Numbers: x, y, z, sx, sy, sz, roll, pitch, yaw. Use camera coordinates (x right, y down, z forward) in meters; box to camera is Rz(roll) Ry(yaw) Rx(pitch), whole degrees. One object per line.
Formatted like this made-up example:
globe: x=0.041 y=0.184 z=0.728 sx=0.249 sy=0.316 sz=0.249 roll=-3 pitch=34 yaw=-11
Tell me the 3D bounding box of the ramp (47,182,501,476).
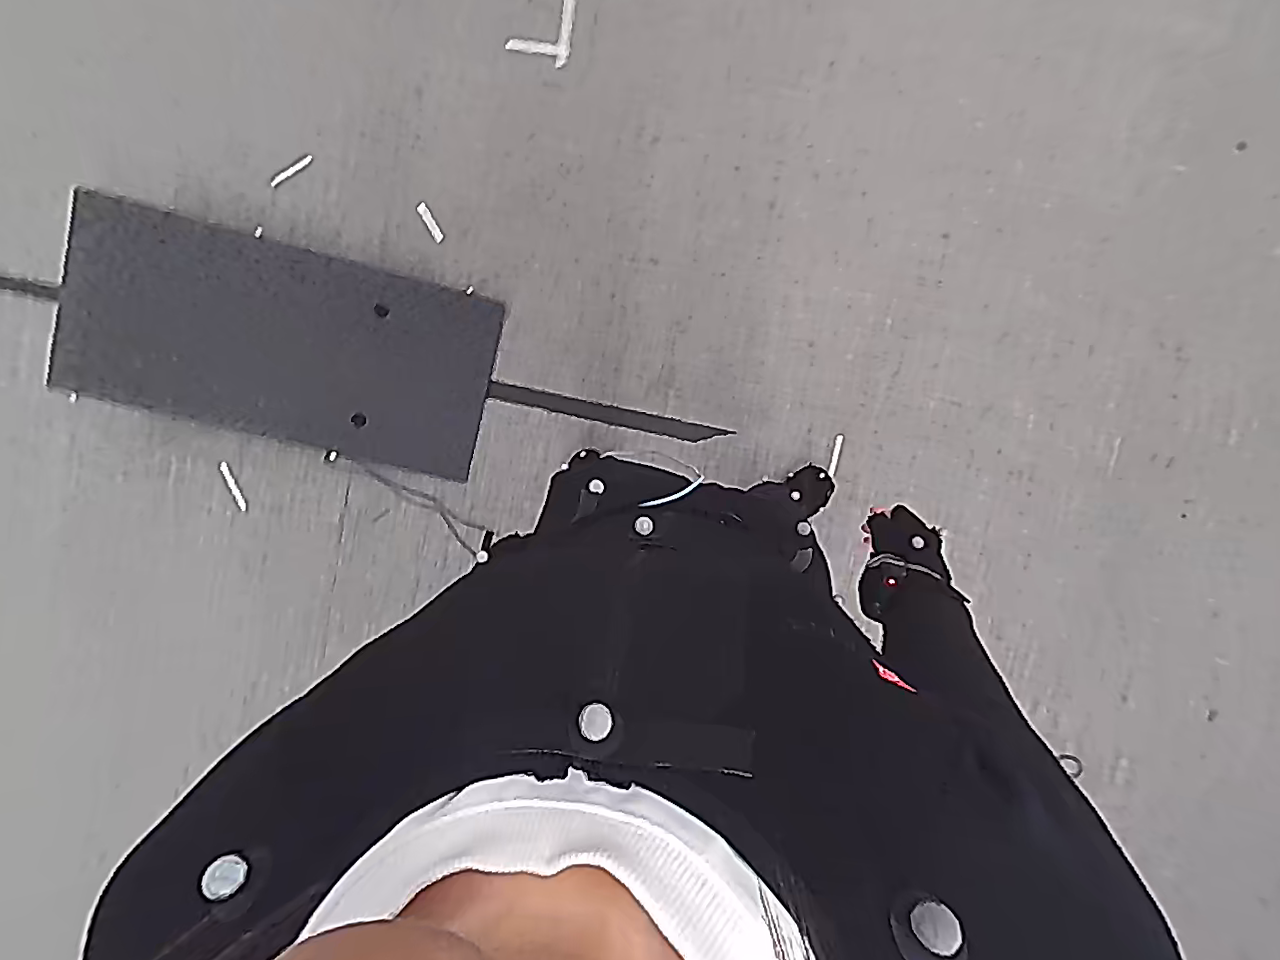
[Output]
ramp: x=-0.894 y=-0.355 z=1.359 sx=0.991 sy=0.206 sz=0.509 roll=13 pitch=95 yaw=1
